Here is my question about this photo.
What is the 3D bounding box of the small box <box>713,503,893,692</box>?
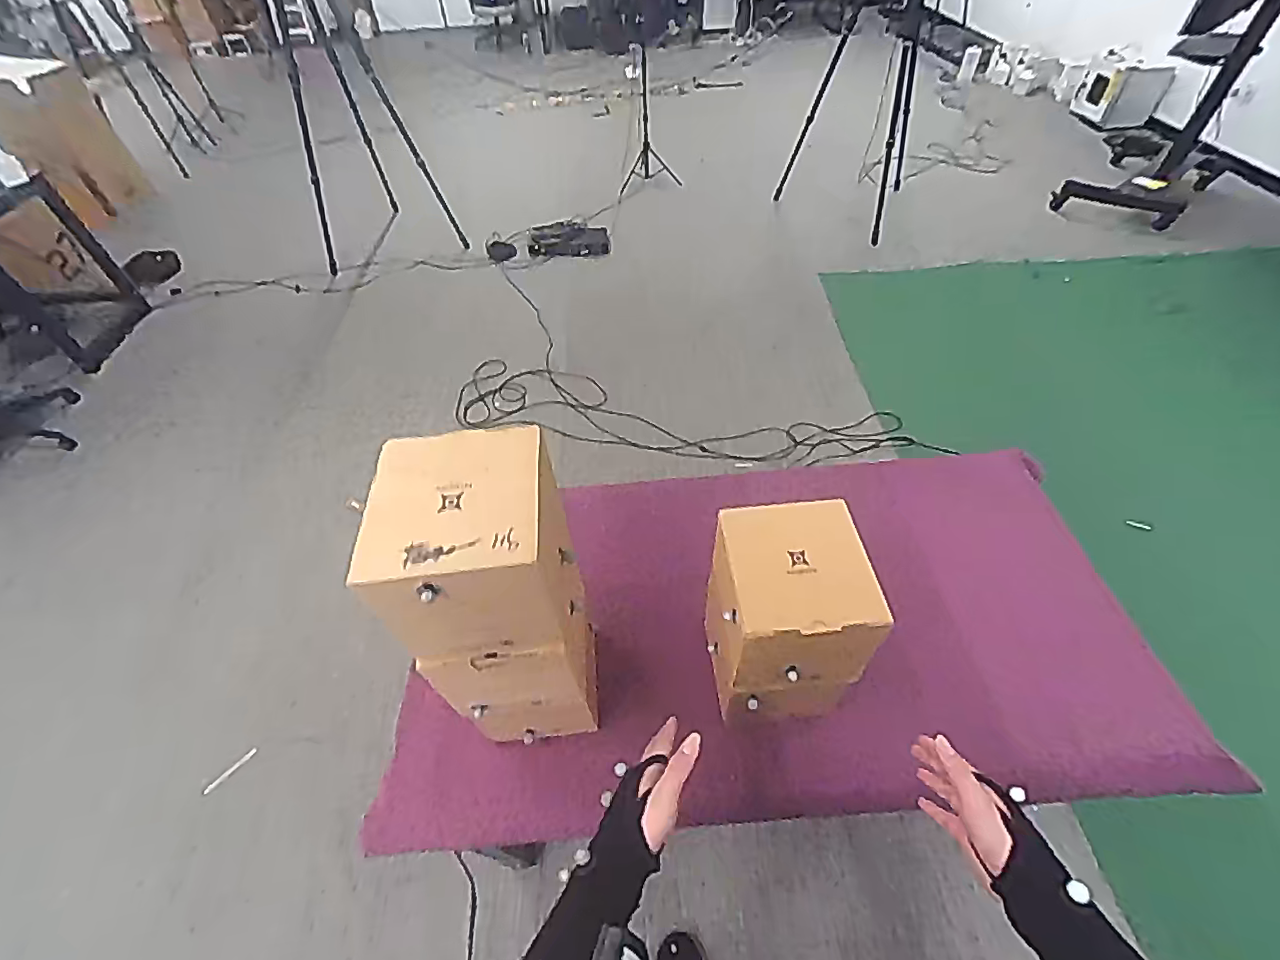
[{"bbox_3d":[0.191,0.153,0.699,0.168,0.176,0.179,-5,50,-1],"label":"small box"}]

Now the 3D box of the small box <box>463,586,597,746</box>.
[{"bbox_3d":[-0.157,0.284,0.825,0.168,0.176,0.179,-6,50,-1],"label":"small box"}]

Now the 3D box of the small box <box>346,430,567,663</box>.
[{"bbox_3d":[-0.174,0.072,0.576,0.168,0.176,0.179,-7,49,-1],"label":"small box"}]

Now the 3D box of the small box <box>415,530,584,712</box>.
[{"bbox_3d":[-0.164,0.184,0.696,0.168,0.176,0.179,-6,48,-1],"label":"small box"}]
